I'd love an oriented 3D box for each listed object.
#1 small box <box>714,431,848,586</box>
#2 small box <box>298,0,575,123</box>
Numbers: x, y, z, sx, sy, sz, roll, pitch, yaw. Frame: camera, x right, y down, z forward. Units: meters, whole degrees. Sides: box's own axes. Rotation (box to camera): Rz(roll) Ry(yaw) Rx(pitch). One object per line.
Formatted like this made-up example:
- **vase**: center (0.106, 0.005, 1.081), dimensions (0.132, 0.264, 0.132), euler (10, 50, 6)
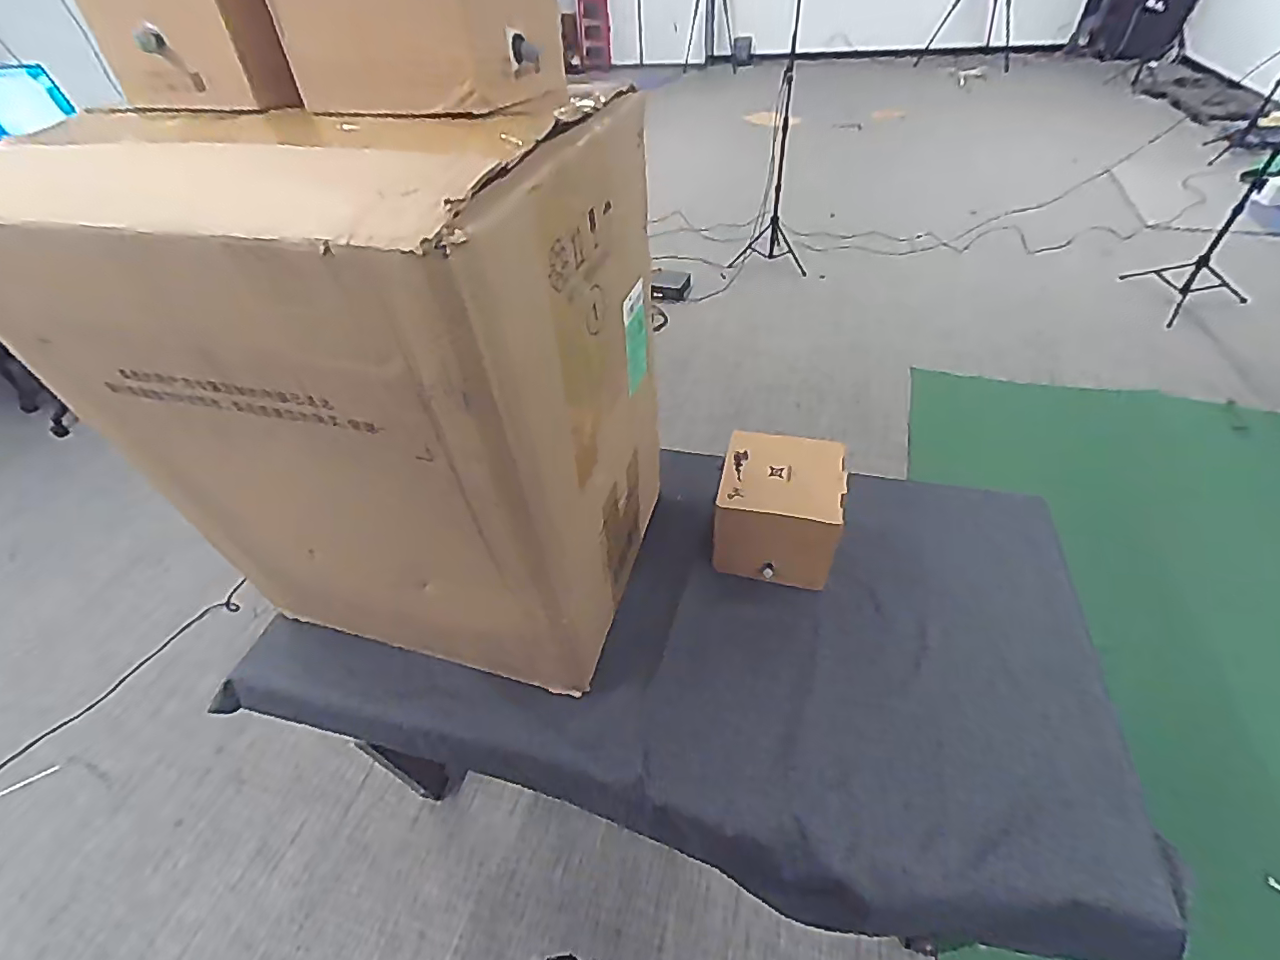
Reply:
- **small box**: center (0.222, 0.048, 0.867), dimensions (0.179, 0.176, 0.168), euler (9, 48, 13)
- **small box**: center (-0.169, -0.413, 0.456), dimensions (0.179, 0.176, 0.168), euler (11, 44, 13)
